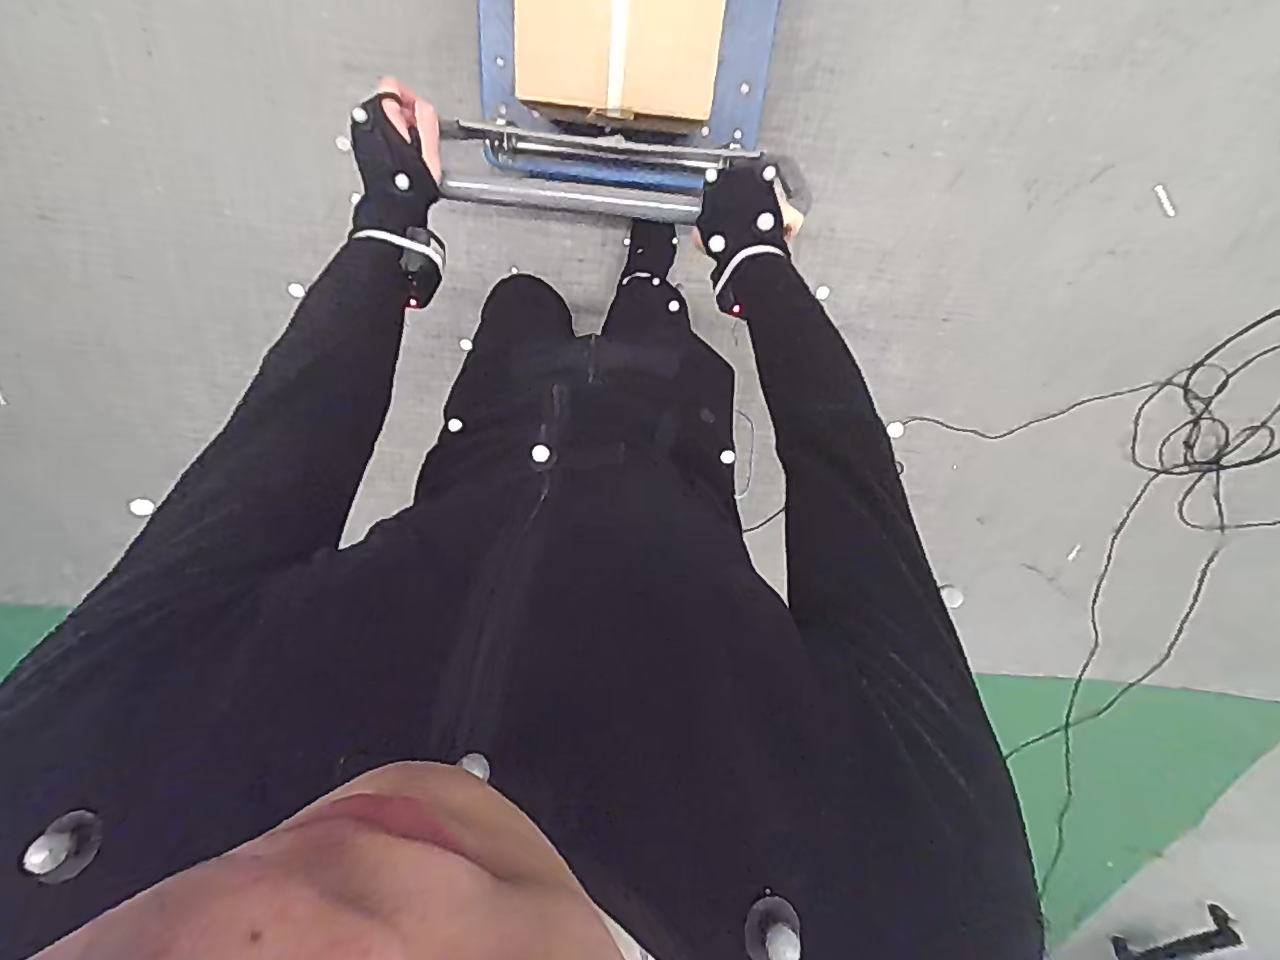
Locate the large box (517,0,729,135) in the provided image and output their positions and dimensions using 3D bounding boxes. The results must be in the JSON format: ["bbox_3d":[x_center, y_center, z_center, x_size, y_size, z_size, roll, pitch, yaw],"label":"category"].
[{"bbox_3d":[-0.017,-0.831,0.898,0.320,0.320,0.408,5,118,-2],"label":"large box"}]
